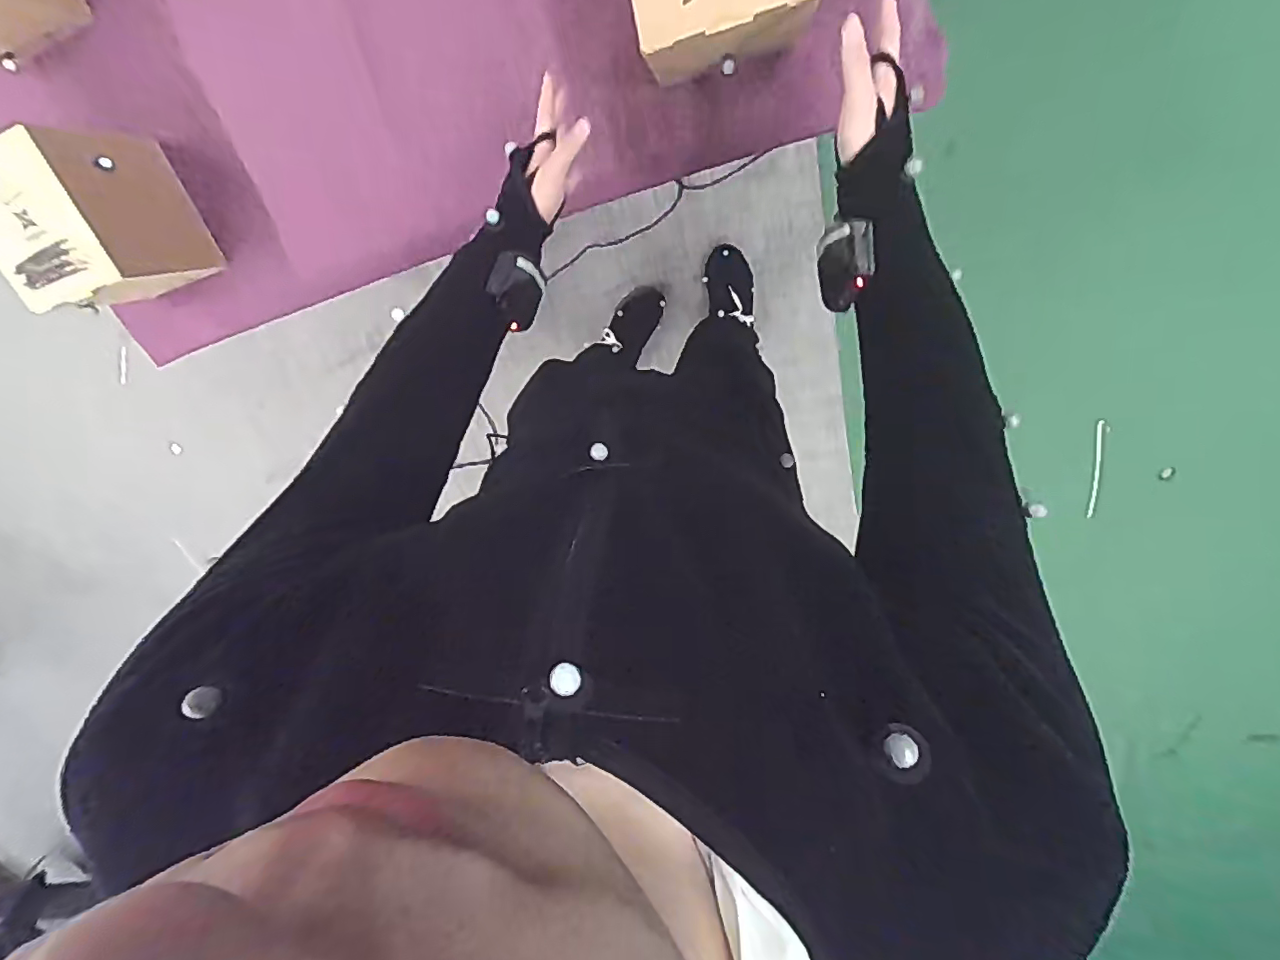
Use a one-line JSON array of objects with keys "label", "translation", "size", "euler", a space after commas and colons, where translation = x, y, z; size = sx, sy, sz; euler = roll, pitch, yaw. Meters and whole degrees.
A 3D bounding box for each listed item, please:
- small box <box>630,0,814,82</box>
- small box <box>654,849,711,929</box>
[{"label": "small box", "translation": [0.069, -0.525, 0.523], "size": [0.168, 0.176, 0.179], "euler": [-8, 116, 14]}, {"label": "small box", "translation": [0.156, 1.454, 1.927], "size": [0.168, 0.176, 0.179], "euler": [-9, 115, 14]}]
